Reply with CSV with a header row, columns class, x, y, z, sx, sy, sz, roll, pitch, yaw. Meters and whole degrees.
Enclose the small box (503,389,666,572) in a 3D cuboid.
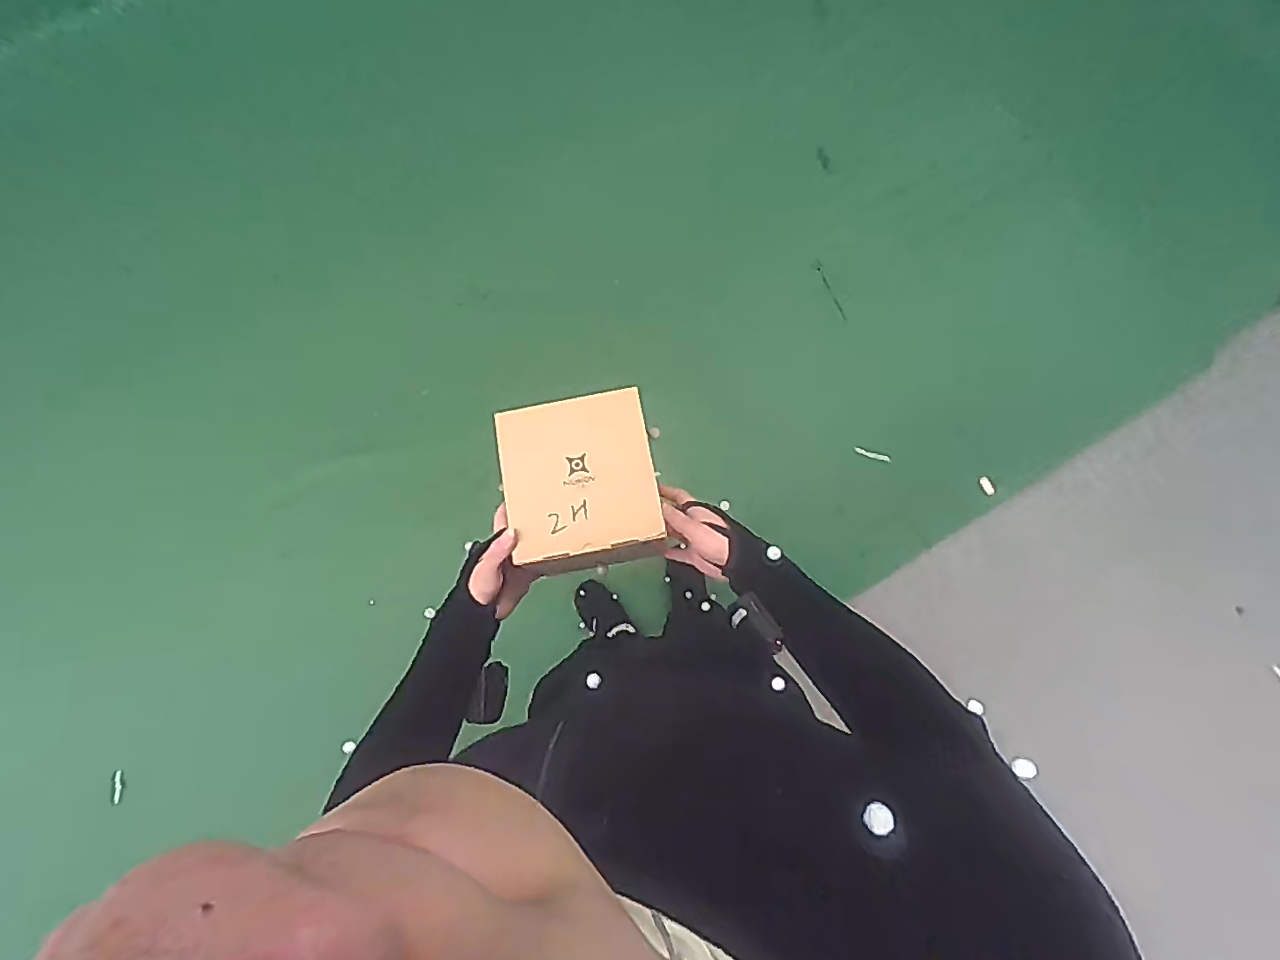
class,x,y,z,sx,sy,sz,roll,pitch,yaw
small box,-0.063,0.010,0.675,0.168,0.176,0.179,-9,75,0
